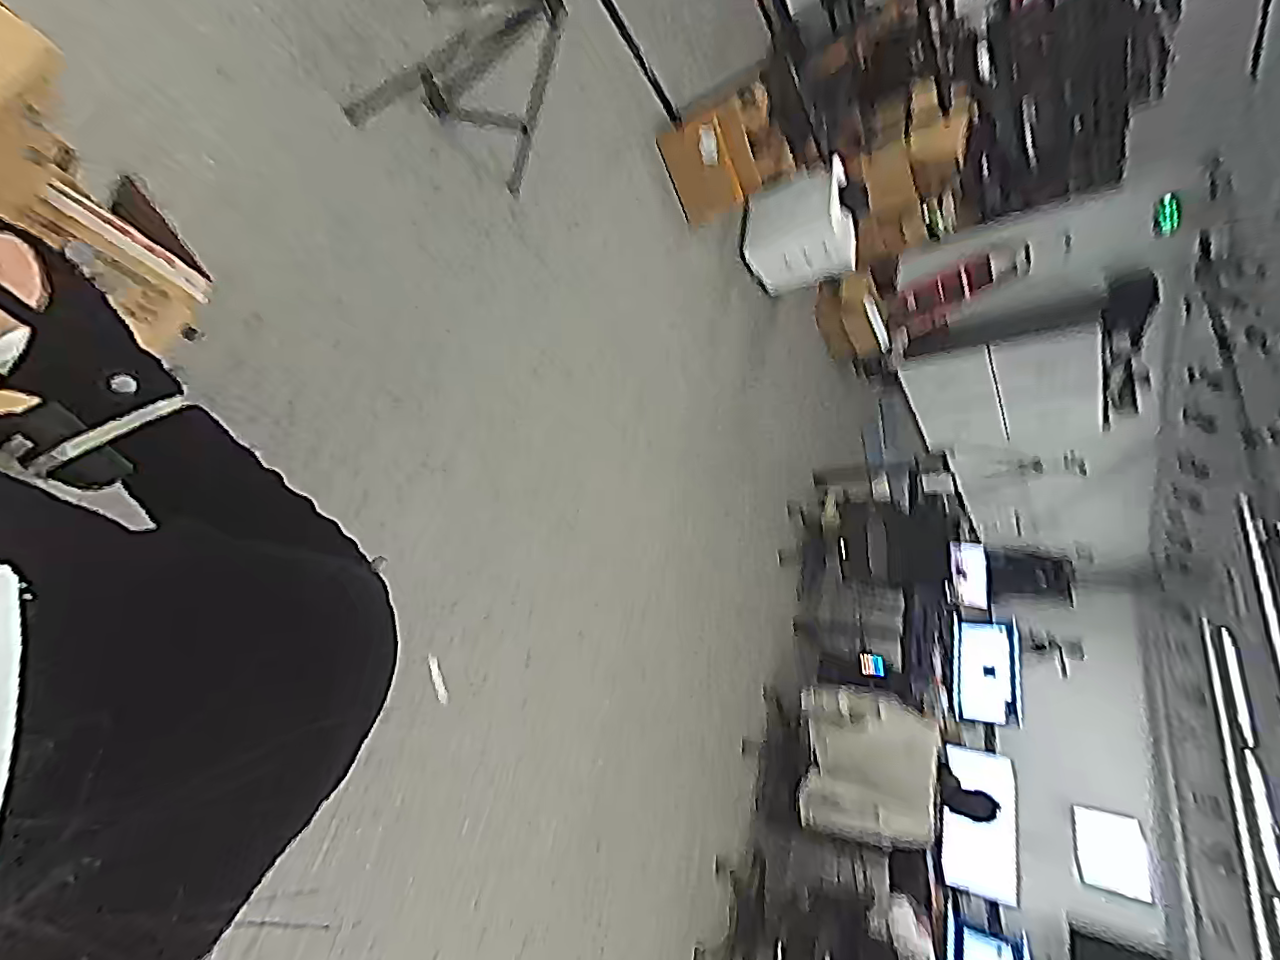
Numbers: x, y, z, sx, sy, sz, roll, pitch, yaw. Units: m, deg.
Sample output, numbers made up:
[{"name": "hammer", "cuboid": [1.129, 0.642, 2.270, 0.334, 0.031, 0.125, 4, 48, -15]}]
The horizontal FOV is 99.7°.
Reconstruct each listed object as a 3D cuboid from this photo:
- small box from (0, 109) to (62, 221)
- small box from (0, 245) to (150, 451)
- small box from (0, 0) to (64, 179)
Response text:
[{"name": "small box", "cuboid": [-0.814, -0.390, 0.601, 0.168, 0.176, 0.179, 39, 59, -40]}, {"name": "small box", "cuboid": [-0.756, -0.151, 0.652, 0.168, 0.176, 0.179, 39, 60, -42]}, {"name": "small box", "cuboid": [-0.692, -0.378, 0.492, 0.168, 0.176, 0.179, 38, 60, -40]}]
